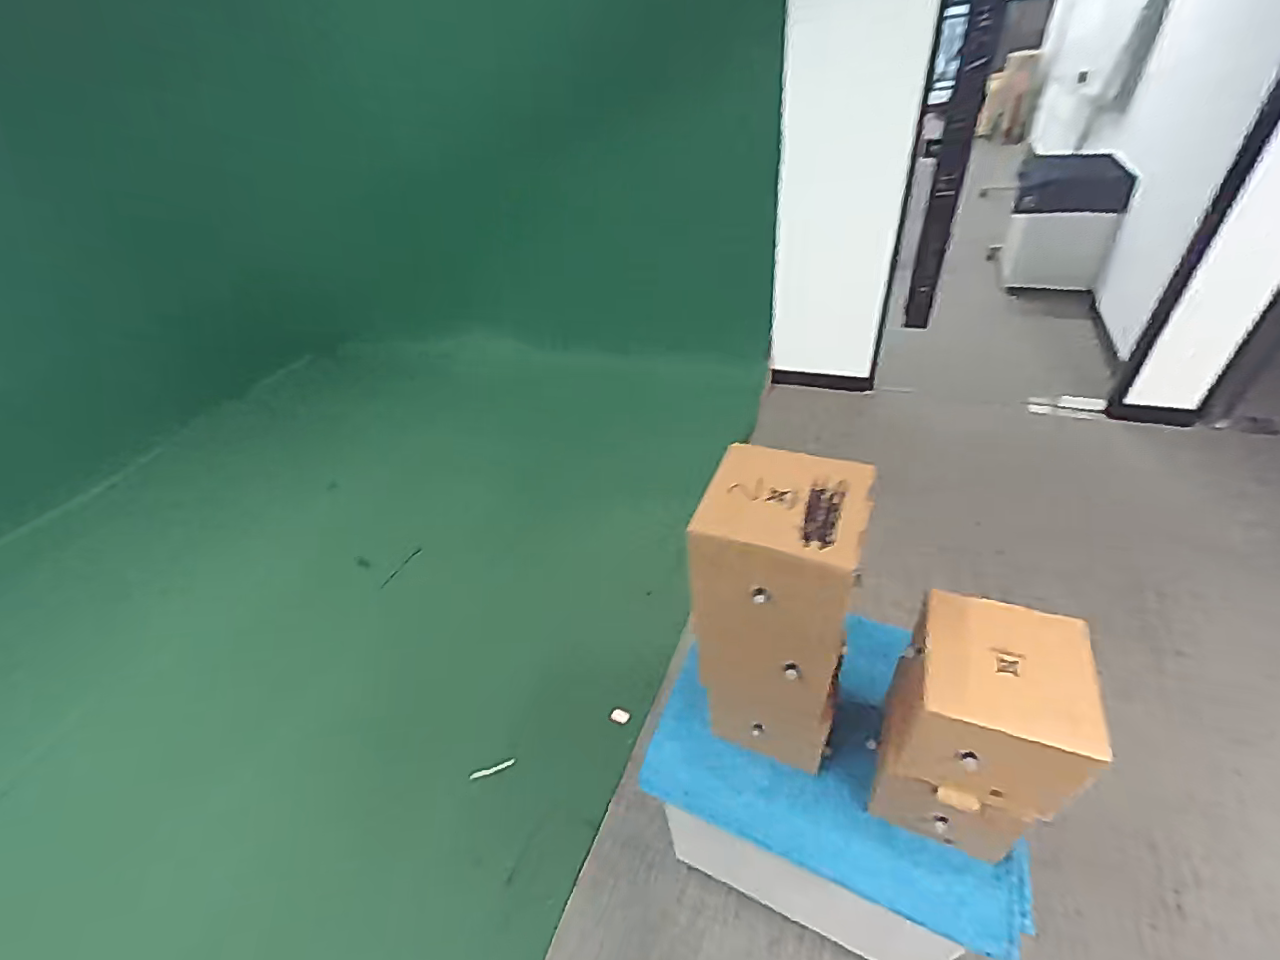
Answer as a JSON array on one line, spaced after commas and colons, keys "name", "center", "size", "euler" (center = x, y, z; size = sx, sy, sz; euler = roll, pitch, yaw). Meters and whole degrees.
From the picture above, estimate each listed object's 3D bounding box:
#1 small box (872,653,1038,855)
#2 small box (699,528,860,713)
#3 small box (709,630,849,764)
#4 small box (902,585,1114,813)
[{"name": "small box", "center": [0.433, 0.384, 0.760], "size": [0.168, 0.176, 0.179], "euler": [12, 45, 23]}, {"name": "small box", "center": [0.194, 0.199, 0.761], "size": [0.179, 0.176, 0.168], "euler": [12, 44, 22]}, {"name": "small box", "center": [0.221, 0.324, 0.865], "size": [0.179, 0.176, 0.168], "euler": [12, 44, 22]}, {"name": "small box", "center": [0.422, 0.261, 0.653], "size": [0.168, 0.176, 0.179], "euler": [10, 42, 21]}]
